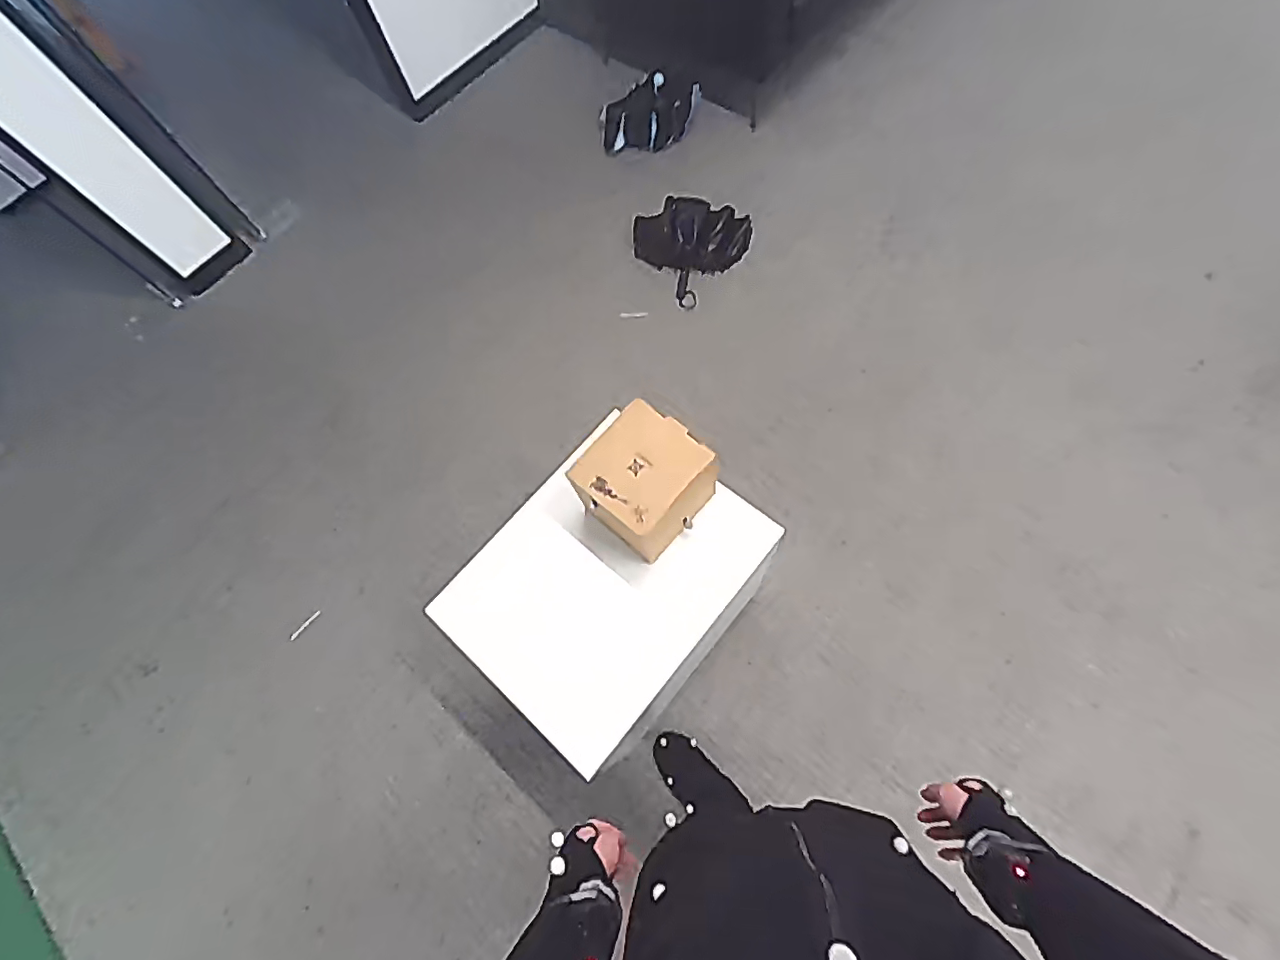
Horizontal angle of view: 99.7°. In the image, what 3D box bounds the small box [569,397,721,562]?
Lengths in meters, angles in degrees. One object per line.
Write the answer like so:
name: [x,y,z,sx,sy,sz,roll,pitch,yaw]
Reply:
small box: [0.010,0.005,0.888,0.168,0.176,0.179,39,75,19]
